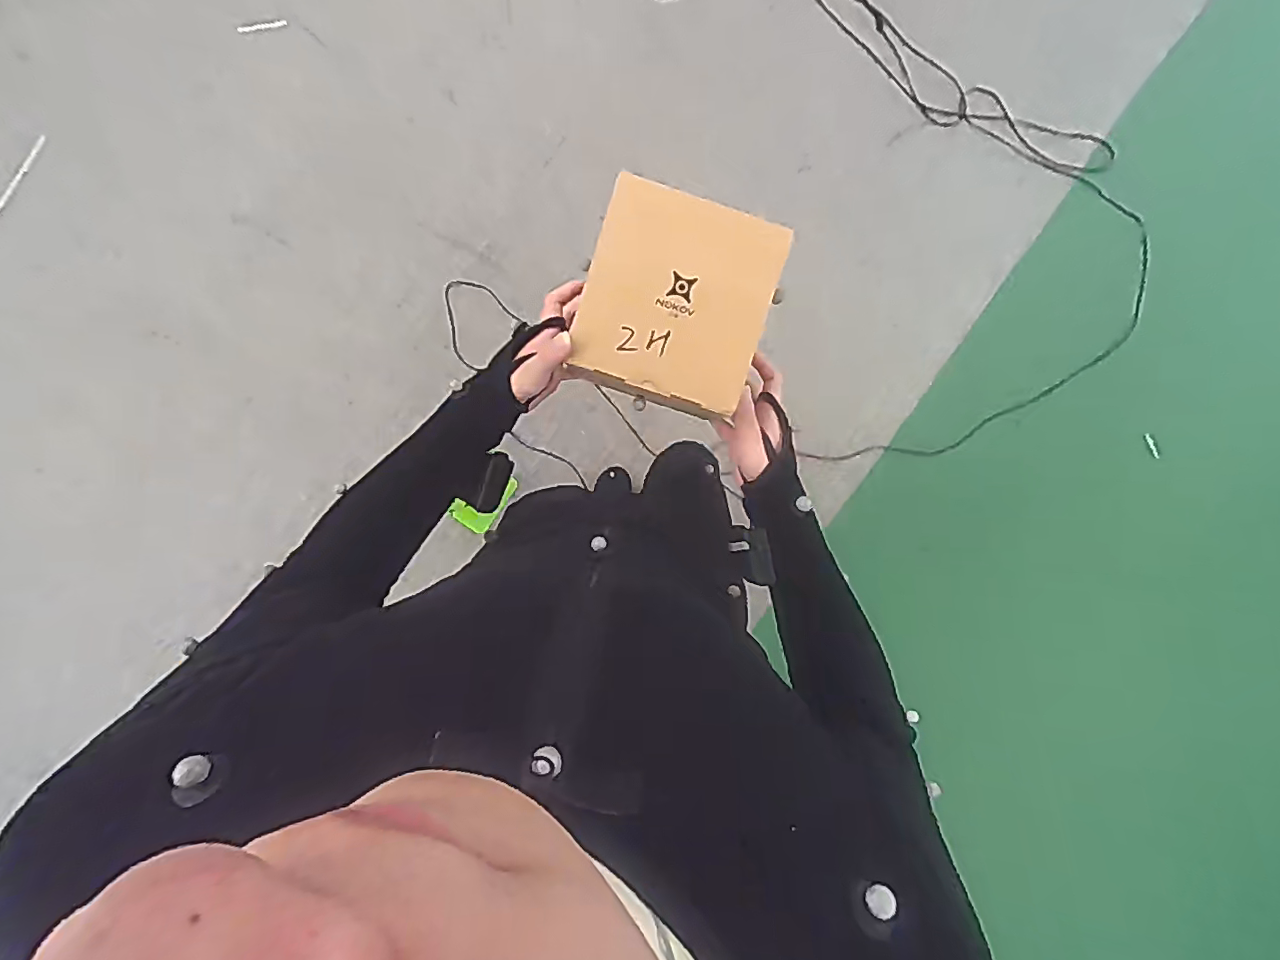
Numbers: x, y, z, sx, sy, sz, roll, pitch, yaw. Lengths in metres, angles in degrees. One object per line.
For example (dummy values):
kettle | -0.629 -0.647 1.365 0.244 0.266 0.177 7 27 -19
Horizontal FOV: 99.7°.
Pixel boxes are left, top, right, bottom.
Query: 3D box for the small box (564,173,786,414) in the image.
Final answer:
small box | 0.028 -0.177 0.574 0.168 0.176 0.179 18 95 -4

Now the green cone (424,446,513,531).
green cone | -0.498 0.033 1.449 0.200 0.368 0.202 36 90 -4
